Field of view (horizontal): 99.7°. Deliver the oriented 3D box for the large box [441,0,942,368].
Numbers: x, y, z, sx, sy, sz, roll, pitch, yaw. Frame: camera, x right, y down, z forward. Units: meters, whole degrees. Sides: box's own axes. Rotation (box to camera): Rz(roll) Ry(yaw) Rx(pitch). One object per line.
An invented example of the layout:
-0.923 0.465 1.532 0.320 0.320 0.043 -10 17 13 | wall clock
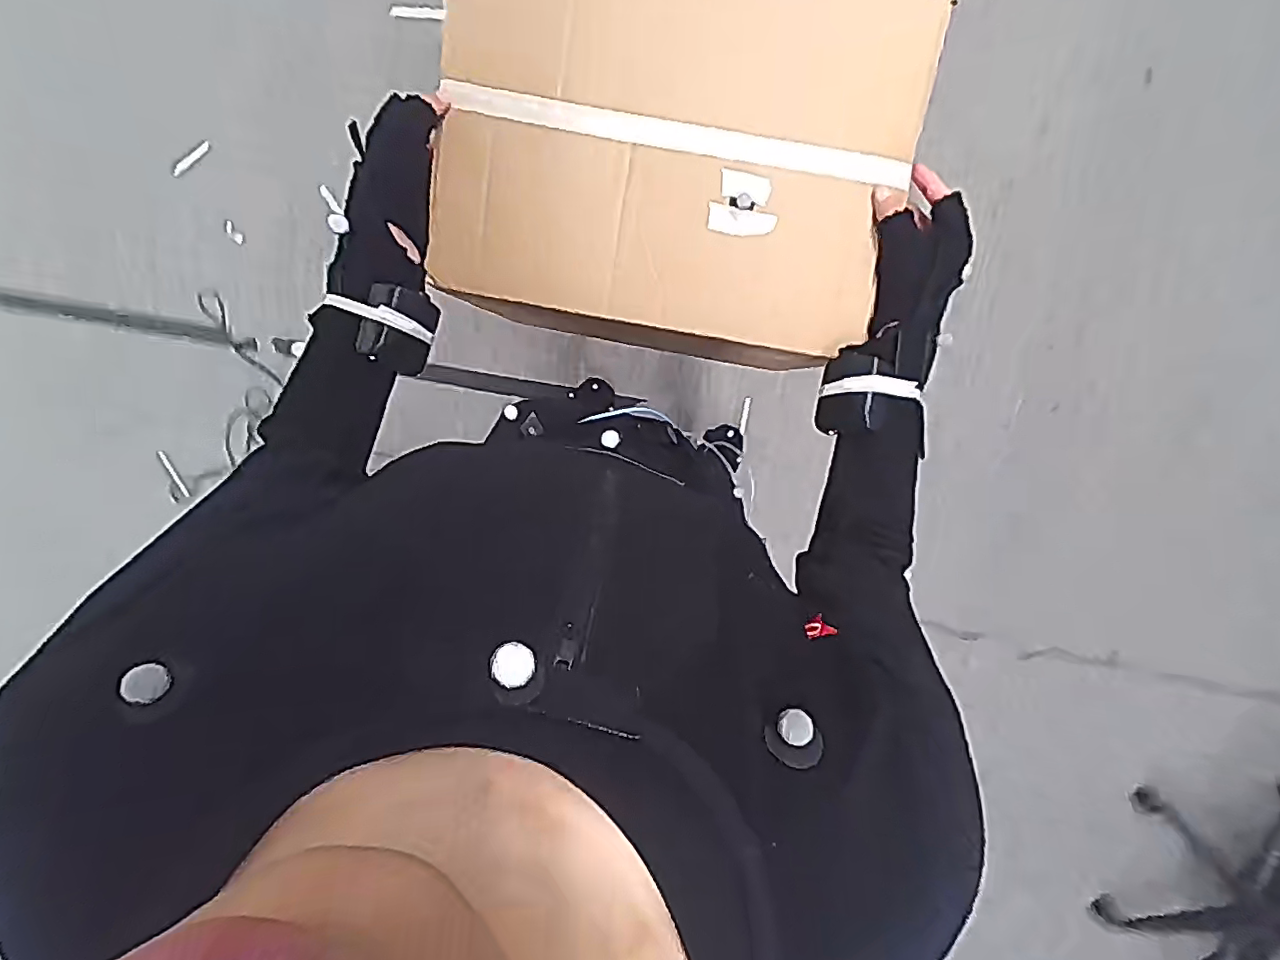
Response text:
0.035 -0.320 0.624 0.408 0.320 0.320 11 101 -1 | large box
